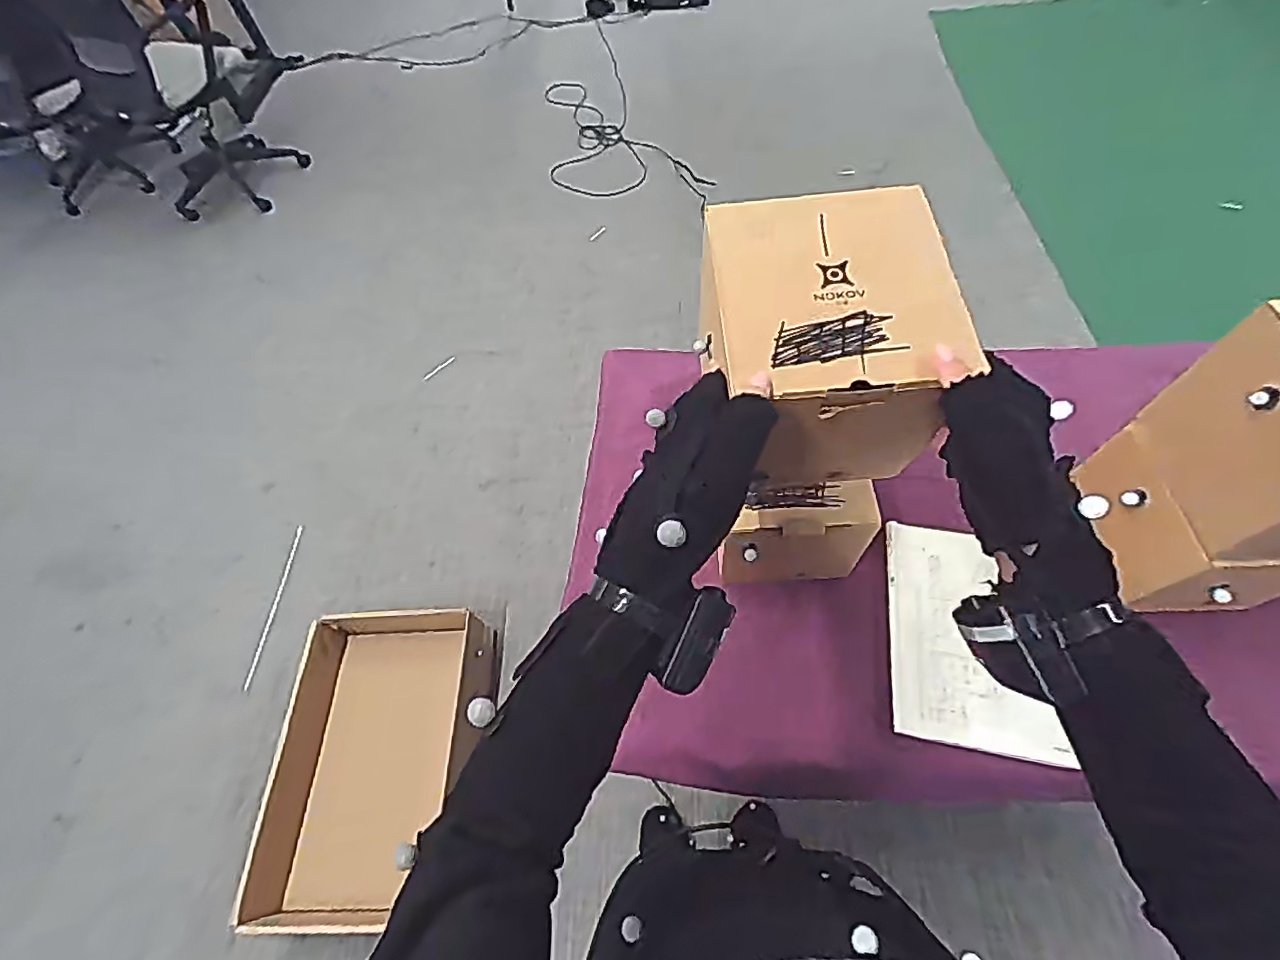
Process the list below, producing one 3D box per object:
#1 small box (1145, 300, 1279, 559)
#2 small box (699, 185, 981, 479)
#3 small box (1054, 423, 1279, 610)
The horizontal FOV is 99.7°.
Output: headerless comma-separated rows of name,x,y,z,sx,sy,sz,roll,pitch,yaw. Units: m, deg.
small box,0.623,-0.040,0.487,0.168,0.176,0.179,0,60,7
small box,0.141,-0.108,0.455,0.168,0.176,0.179,-5,67,2
small box,0.636,0.048,0.627,0.168,0.176,0.179,-3,59,5
